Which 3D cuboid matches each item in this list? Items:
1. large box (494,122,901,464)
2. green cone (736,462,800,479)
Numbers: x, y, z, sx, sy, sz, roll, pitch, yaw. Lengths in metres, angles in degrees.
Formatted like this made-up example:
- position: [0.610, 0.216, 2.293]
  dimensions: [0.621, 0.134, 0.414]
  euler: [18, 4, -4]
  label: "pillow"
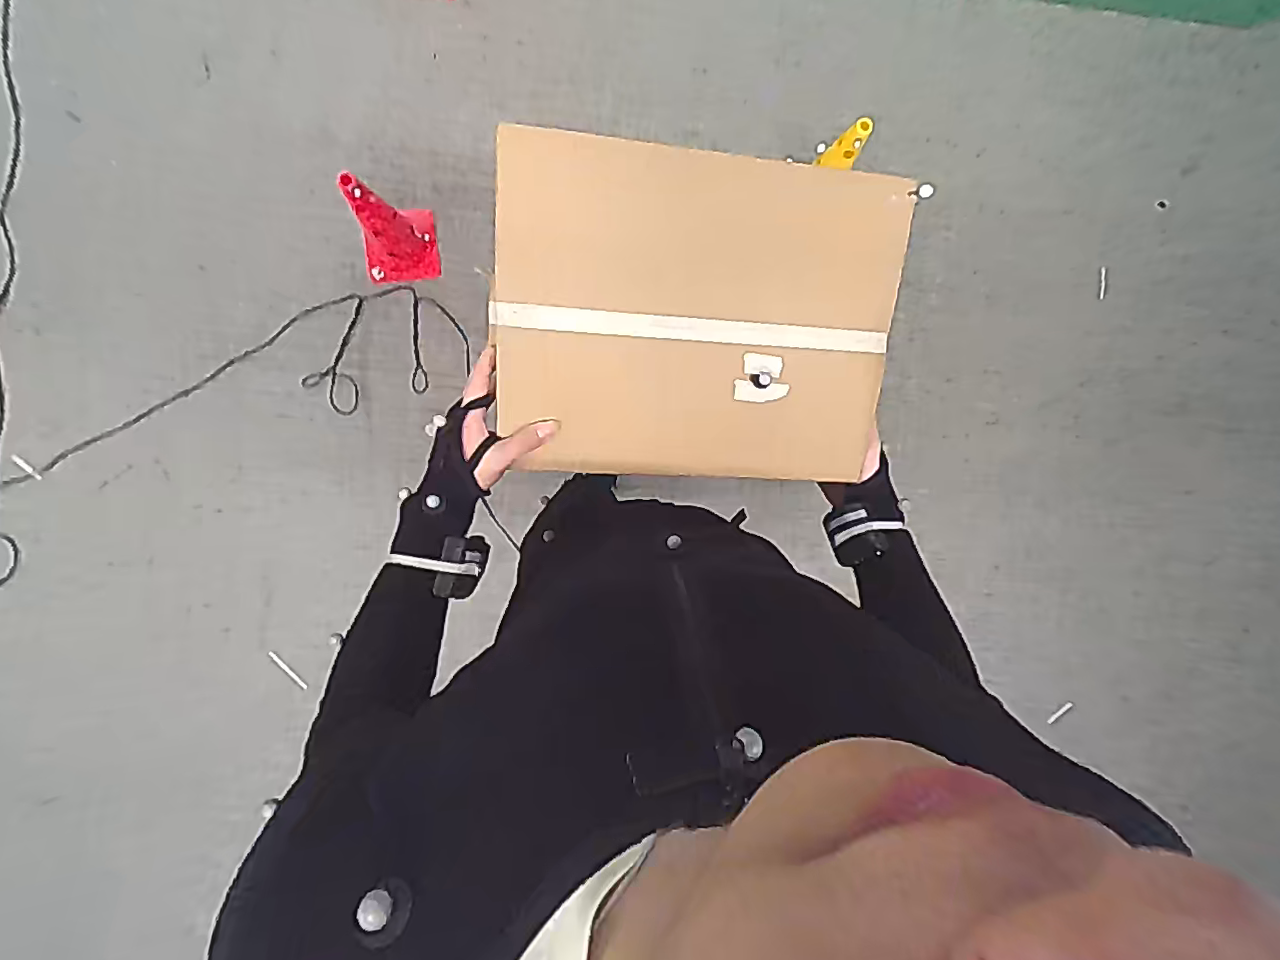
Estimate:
- position: [0.033, -0.209, 0.689]
  dimensions: [0.408, 0.320, 0.320]
  euler: [1, 108, -10]
  label: "large box"
- position: [0.421, -0.115, 1.485]
  dimensions: [0.200, 0.368, 0.202]
  euler: [9, 89, -6]
  label: "green cone"
